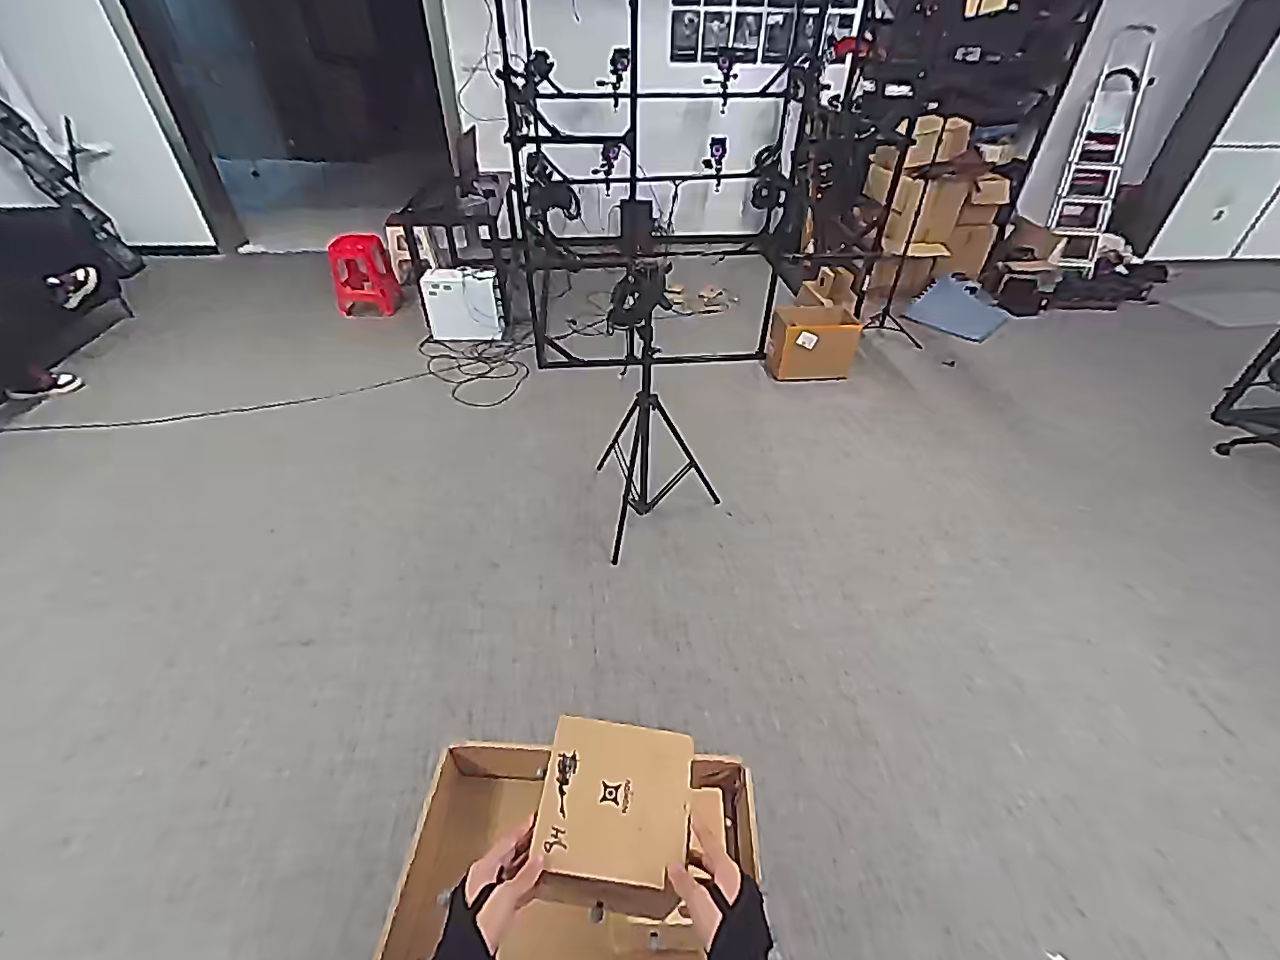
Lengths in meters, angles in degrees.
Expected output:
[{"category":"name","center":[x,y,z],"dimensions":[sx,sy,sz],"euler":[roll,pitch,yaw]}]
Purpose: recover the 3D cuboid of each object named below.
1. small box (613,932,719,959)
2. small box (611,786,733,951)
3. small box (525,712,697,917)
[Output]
[{"category":"small box","center":[0.043,0.722,0.933],"dimensions":[0.168,0.176,0.179],"euler":[1,39,0]},{"category":"small box","center":[0.046,0.596,0.831],"dimensions":[0.168,0.176,0.179],"euler":[1,39,0]},{"category":"small box","center":[-0.035,0.417,0.670],"dimensions":[0.179,0.176,0.168],"euler":[10,42,0]}]
